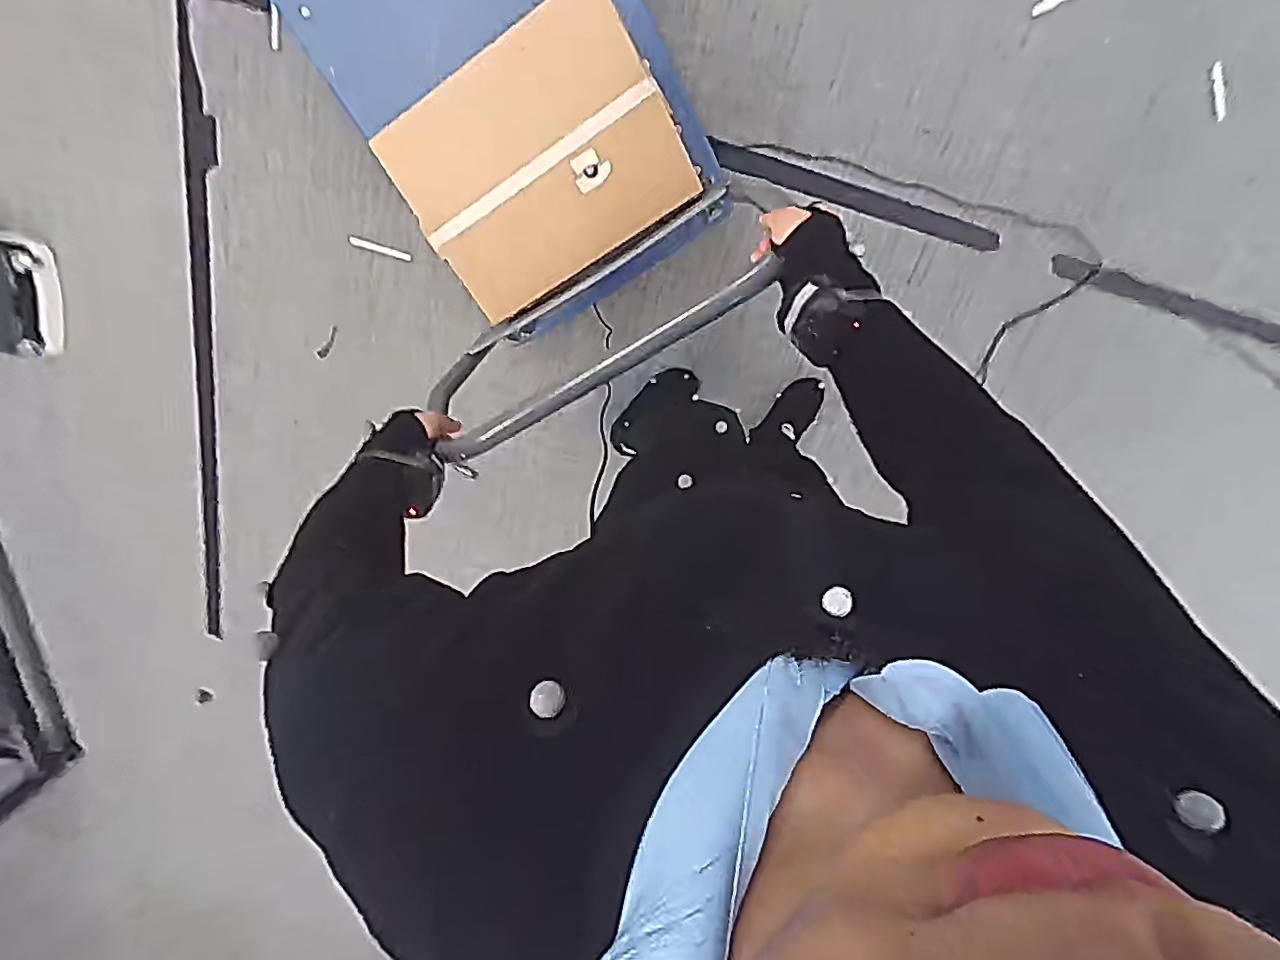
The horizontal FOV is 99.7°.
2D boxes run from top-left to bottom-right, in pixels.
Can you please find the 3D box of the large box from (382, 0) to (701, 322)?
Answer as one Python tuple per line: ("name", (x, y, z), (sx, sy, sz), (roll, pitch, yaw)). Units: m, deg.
("large box", (-0.149, -0.538, 0.960), (0.408, 0.320, 0.320), (-29, 112, 13))
